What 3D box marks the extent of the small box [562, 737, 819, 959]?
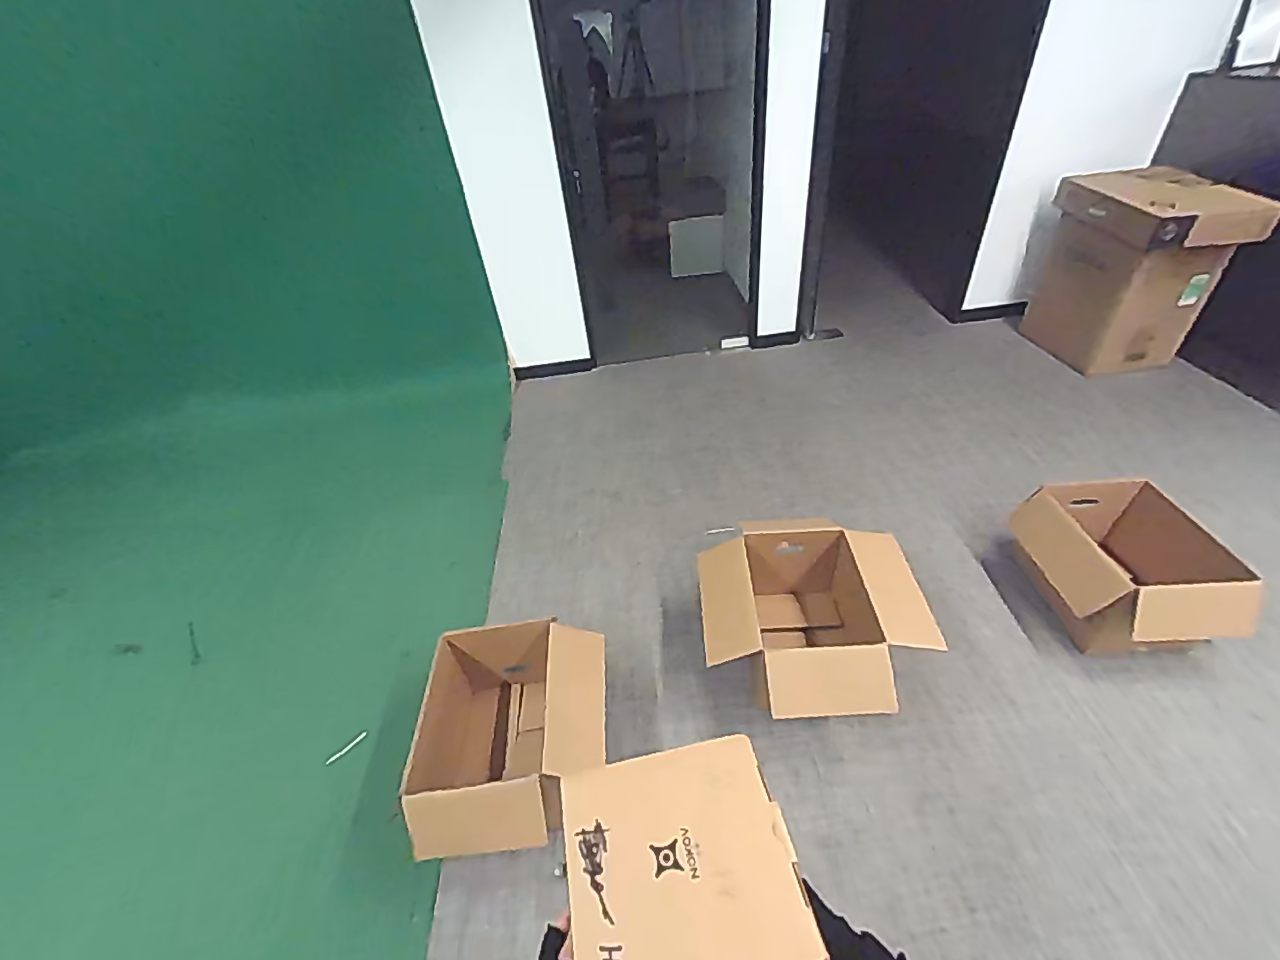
[{"bbox_3d":[0.032,0.362,0.477,0.179,0.176,0.168,-9,37,-6],"label":"small box"}]
